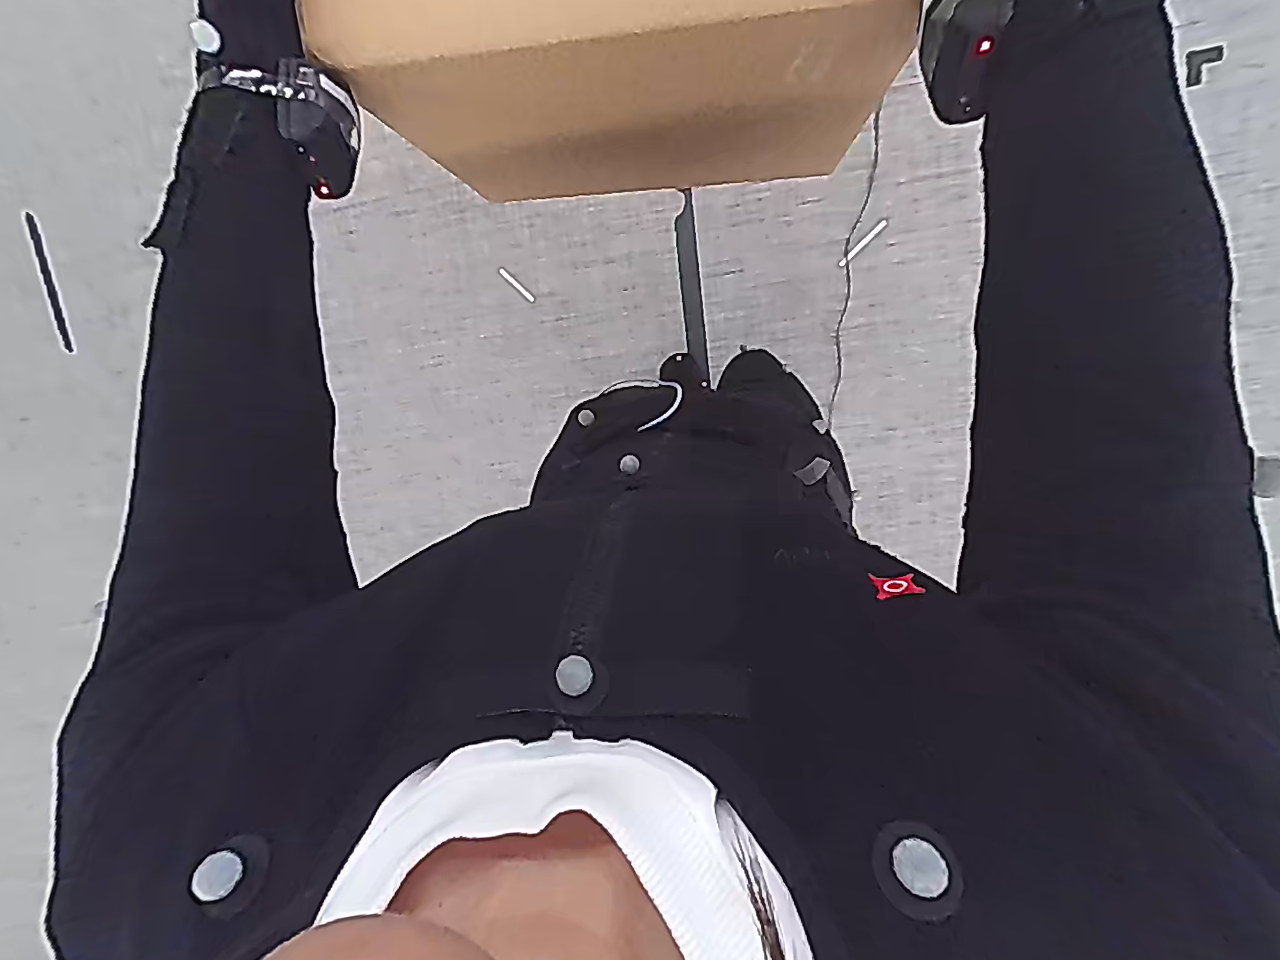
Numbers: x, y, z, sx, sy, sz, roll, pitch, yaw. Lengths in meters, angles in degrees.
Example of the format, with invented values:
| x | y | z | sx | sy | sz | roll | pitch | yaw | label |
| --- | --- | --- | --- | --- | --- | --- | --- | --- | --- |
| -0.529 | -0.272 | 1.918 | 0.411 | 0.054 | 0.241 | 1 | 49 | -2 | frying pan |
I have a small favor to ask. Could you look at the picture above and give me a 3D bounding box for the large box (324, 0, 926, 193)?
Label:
| x | y | z | sx | sy | sz | roll | pitch | yaw | label |
| --- | --- | --- | --- | --- | --- | --- | --- | --- | --- |
| -0.006 | -0.471 | 0.456 | 0.408 | 0.320 | 0.320 | -2 | 103 | 6 | large box |
